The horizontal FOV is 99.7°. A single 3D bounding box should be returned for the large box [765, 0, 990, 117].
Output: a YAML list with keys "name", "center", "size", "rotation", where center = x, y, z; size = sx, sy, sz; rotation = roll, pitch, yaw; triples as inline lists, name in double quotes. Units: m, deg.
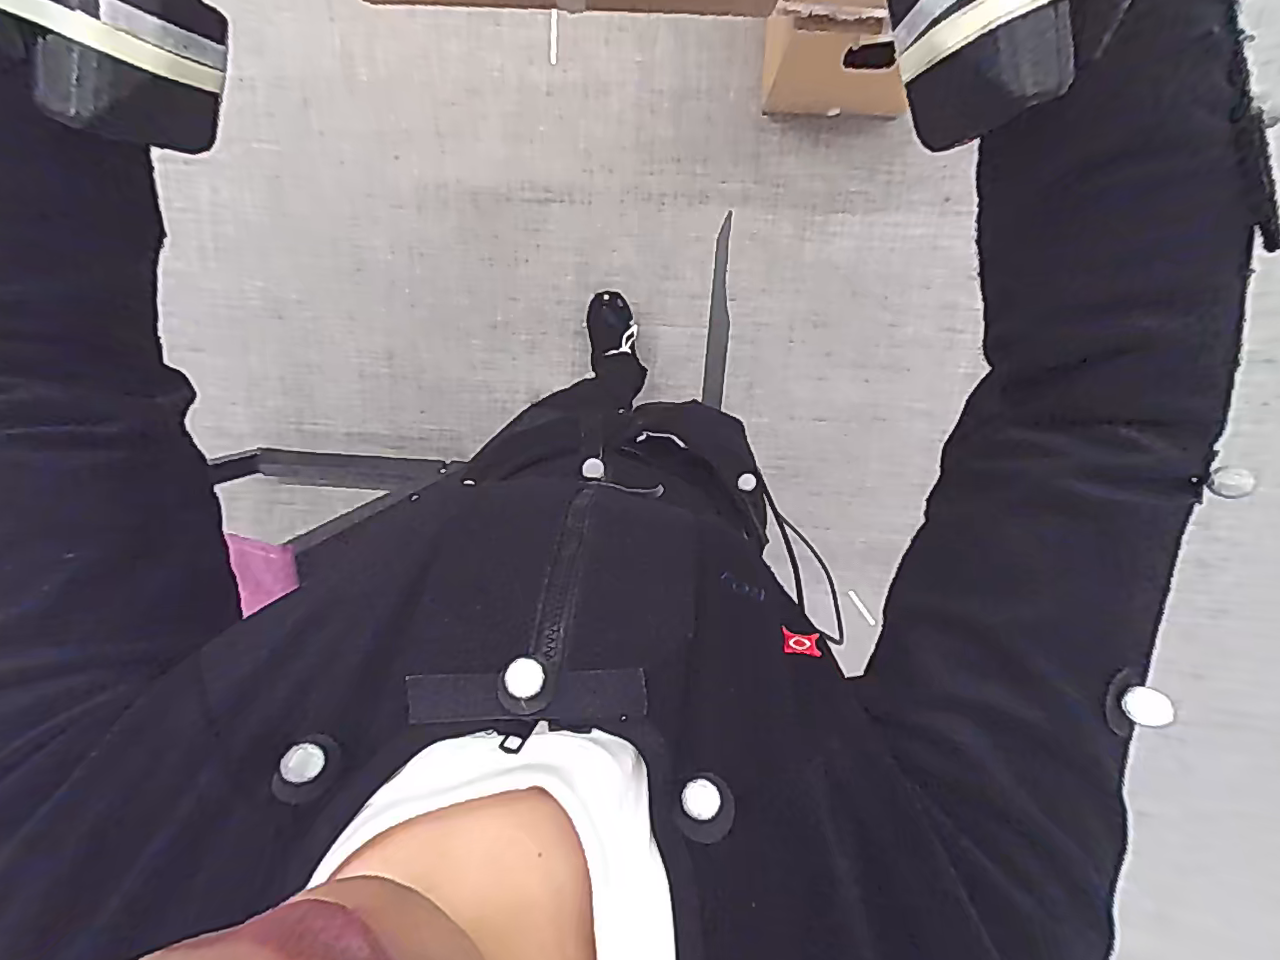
- name: "large box"
  center: [0.422, -0.955, 0.990]
  size: [0.320, 0.320, 0.408]
  rotation: [3, 103, 3]
